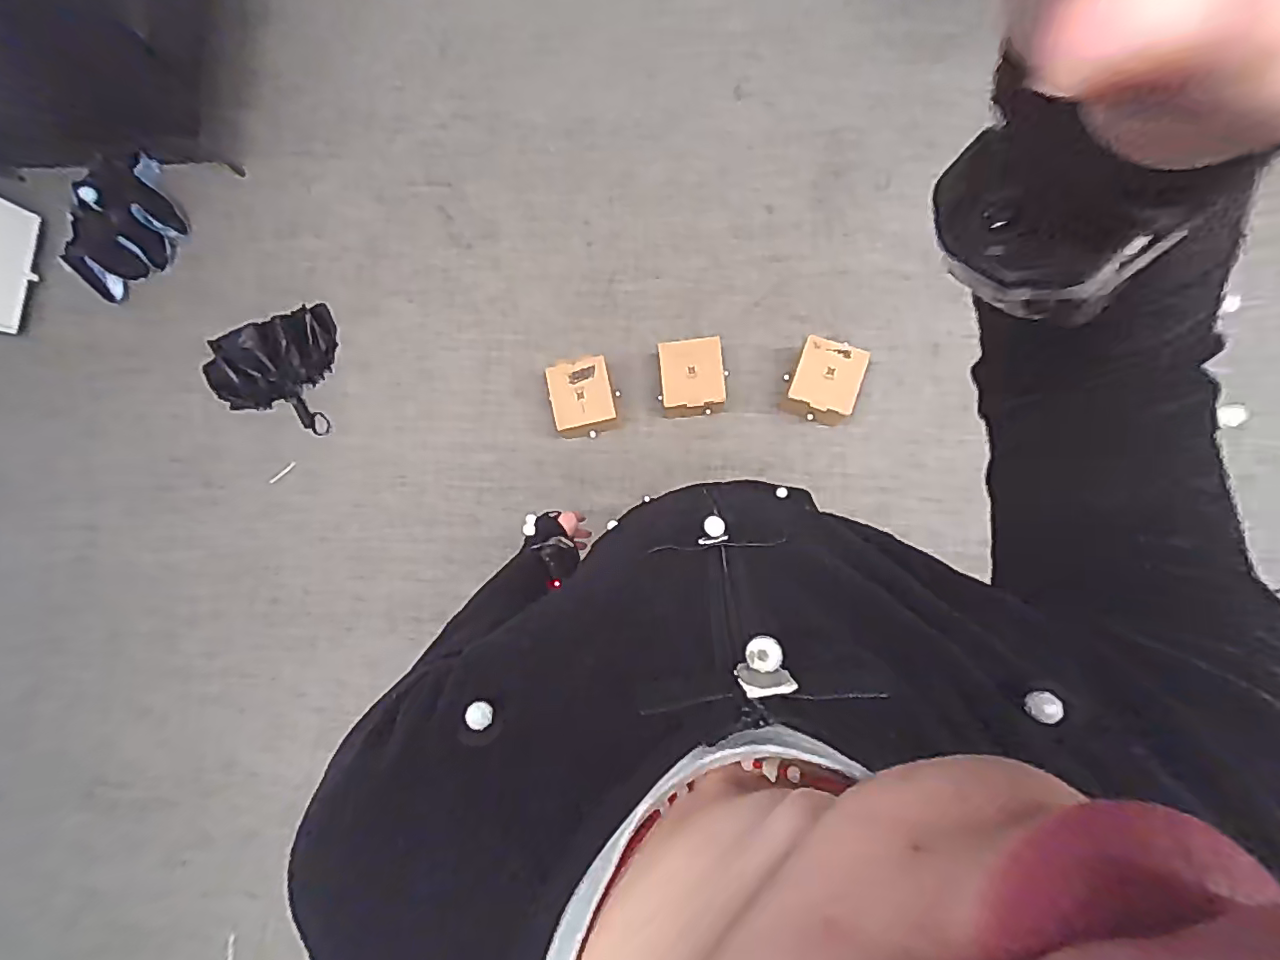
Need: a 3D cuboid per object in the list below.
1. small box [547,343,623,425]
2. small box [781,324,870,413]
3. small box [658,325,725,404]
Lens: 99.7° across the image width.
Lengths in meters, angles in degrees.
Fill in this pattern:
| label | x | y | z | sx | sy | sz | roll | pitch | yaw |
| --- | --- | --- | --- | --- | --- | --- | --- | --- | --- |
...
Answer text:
| label | x | y | z | sx | sy | sz | roll | pitch | yaw |
| --- | --- | --- | --- | --- | --- | --- | --- | --- | --- |
| small box | -0.150 | -0.264 | 1.524 | 0.168 | 0.176 | 0.179 | -12 | 87 | 5 |
| small box | 0.490 | -0.293 | 1.462 | 0.168 | 0.176 | 0.179 | 20 | 90 | 7 |
| small box | 0.143 | -0.312 | 1.500 | 0.168 | 0.176 | 0.179 | -6 | 86 | 4 |
